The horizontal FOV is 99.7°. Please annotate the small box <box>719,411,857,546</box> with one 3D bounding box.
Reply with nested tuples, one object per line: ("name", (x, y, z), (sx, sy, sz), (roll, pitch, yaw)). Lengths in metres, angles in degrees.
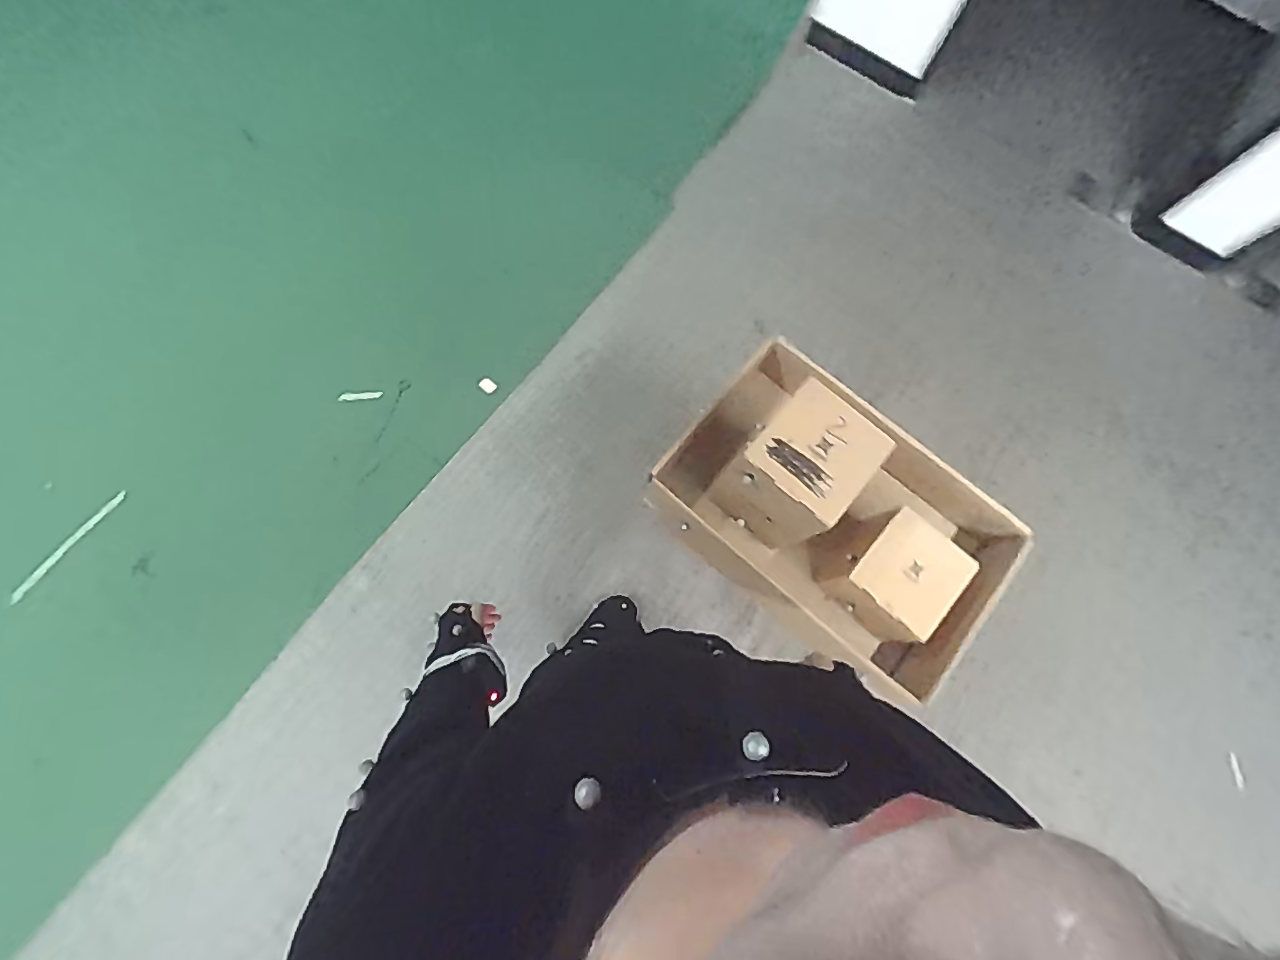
("small box", (0.270, 0.006, 1.034), (0.168, 0.176, 0.179), (39, 78, 7))
